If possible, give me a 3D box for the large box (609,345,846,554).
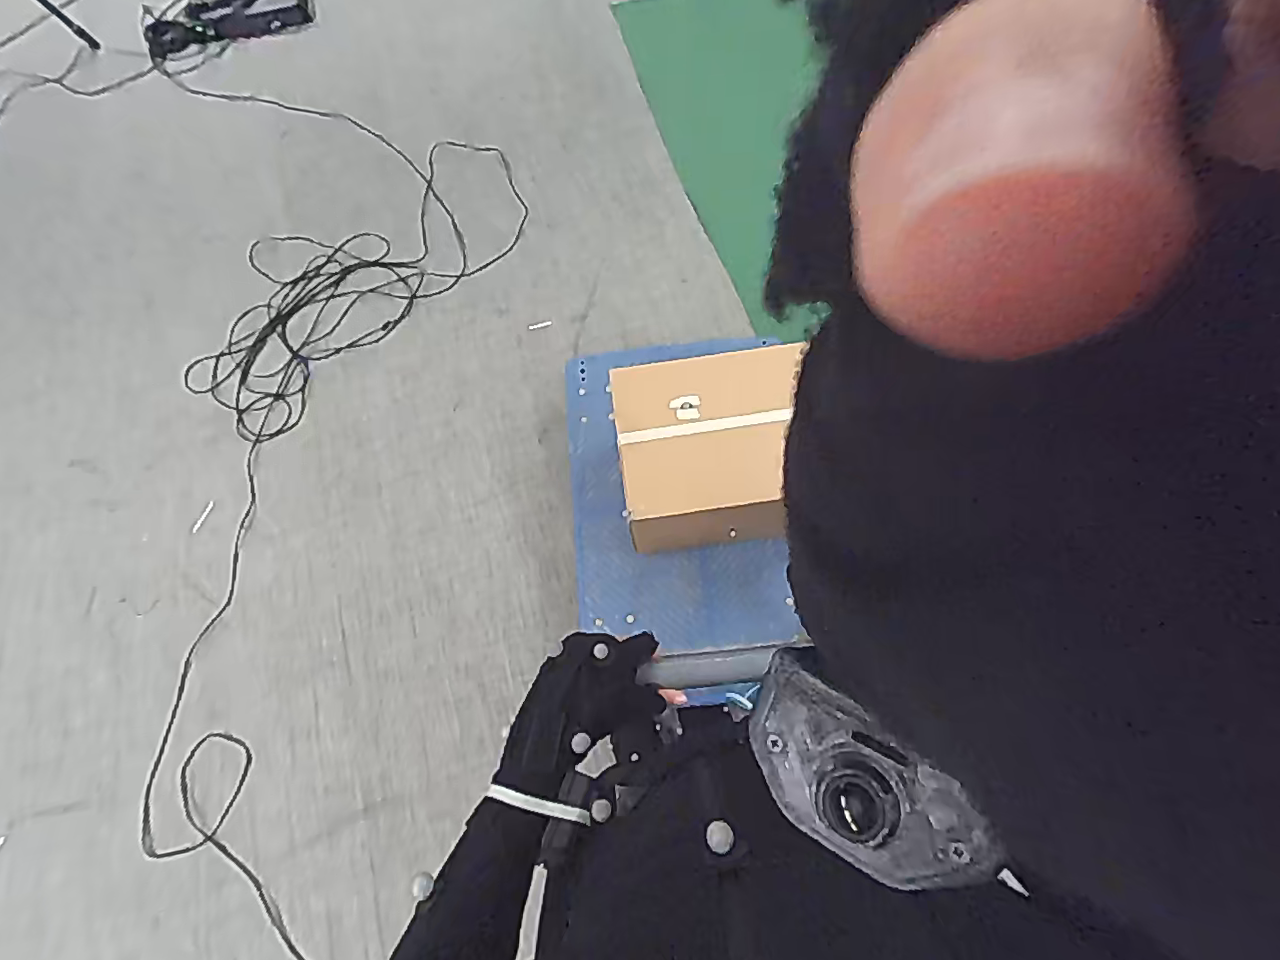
[{"bbox_3d":[0.168,-0.046,1.166,0.408,0.320,0.320,-10,70,1],"label":"large box"}]
